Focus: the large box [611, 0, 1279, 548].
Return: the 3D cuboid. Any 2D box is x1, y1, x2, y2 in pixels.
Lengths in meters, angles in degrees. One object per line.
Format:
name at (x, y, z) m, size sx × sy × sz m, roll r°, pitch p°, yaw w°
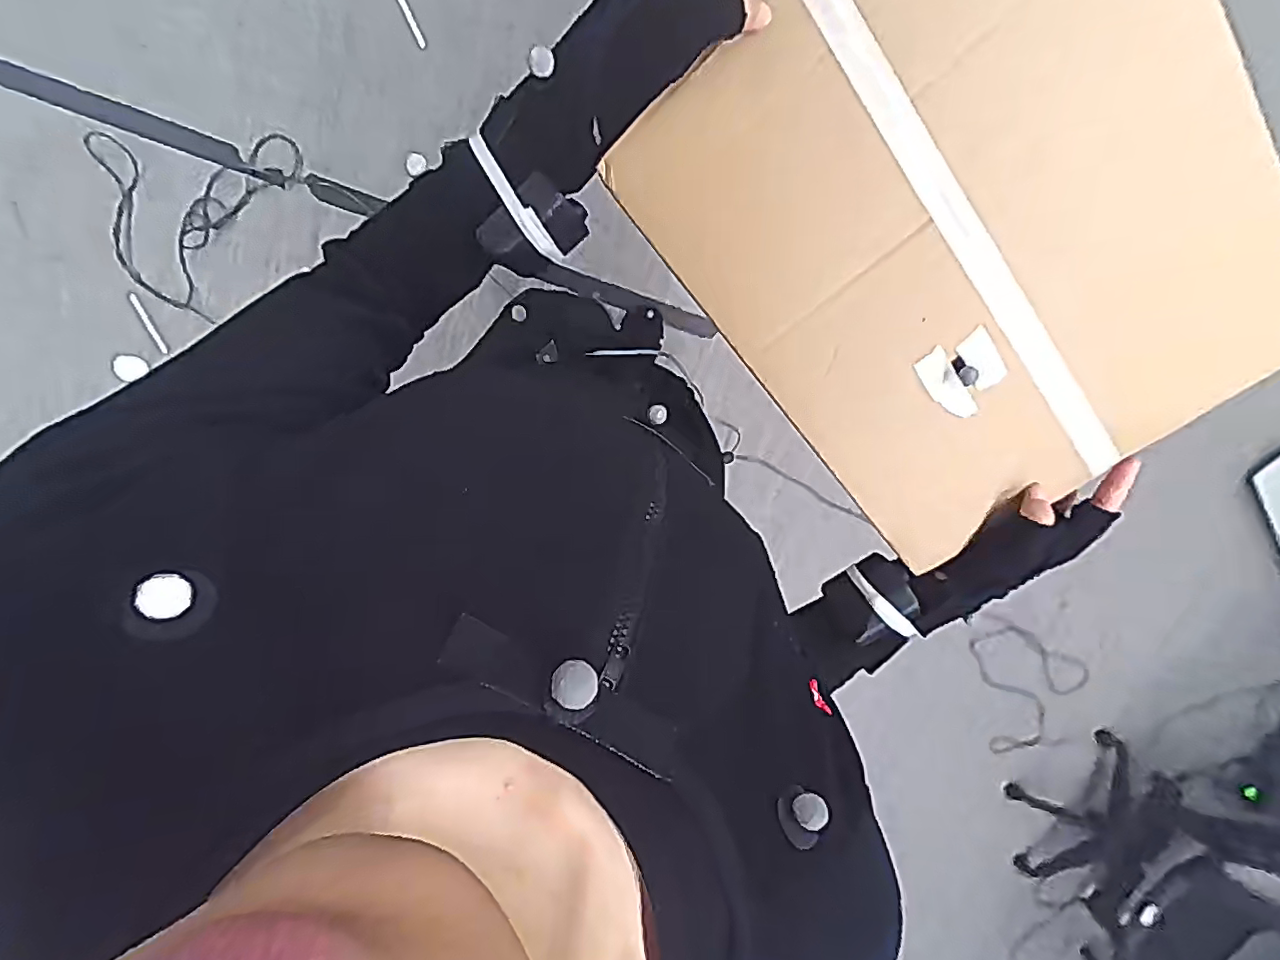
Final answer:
large box at (0.228, -0.226, 0.499) m, size 0.320 × 0.320 × 0.408 m, roll -37°, pitch 108°, yaw 20°
